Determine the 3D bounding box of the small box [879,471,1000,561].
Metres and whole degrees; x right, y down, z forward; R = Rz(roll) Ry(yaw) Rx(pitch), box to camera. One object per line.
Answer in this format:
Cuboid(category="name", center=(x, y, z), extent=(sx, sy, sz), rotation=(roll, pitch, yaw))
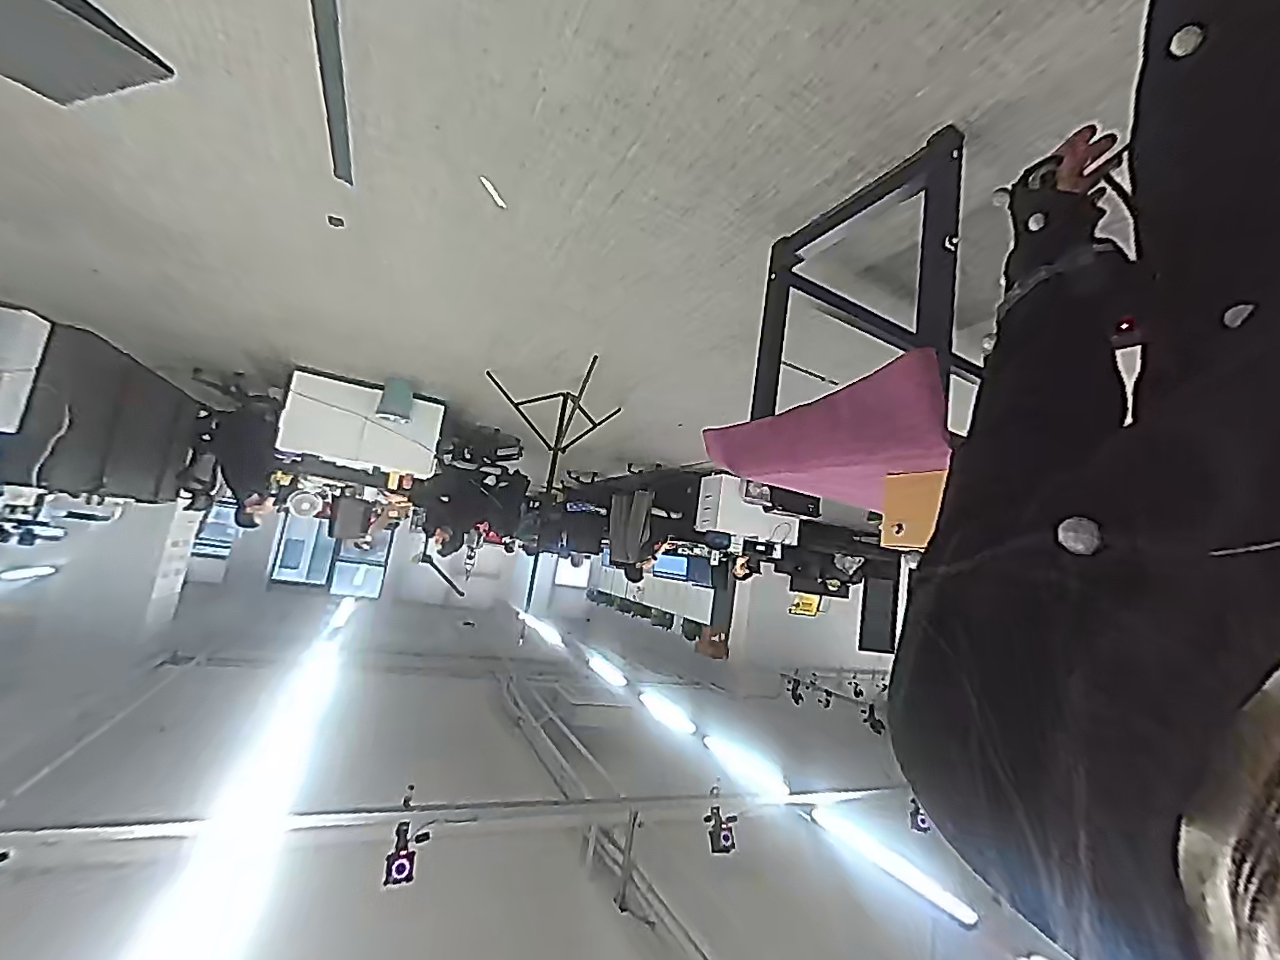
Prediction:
Cuboid(category="small box", center=(0.662, 0.079, 1.194), extent=(0.168, 0.176, 0.179), rotation=(11, 171, -25))
